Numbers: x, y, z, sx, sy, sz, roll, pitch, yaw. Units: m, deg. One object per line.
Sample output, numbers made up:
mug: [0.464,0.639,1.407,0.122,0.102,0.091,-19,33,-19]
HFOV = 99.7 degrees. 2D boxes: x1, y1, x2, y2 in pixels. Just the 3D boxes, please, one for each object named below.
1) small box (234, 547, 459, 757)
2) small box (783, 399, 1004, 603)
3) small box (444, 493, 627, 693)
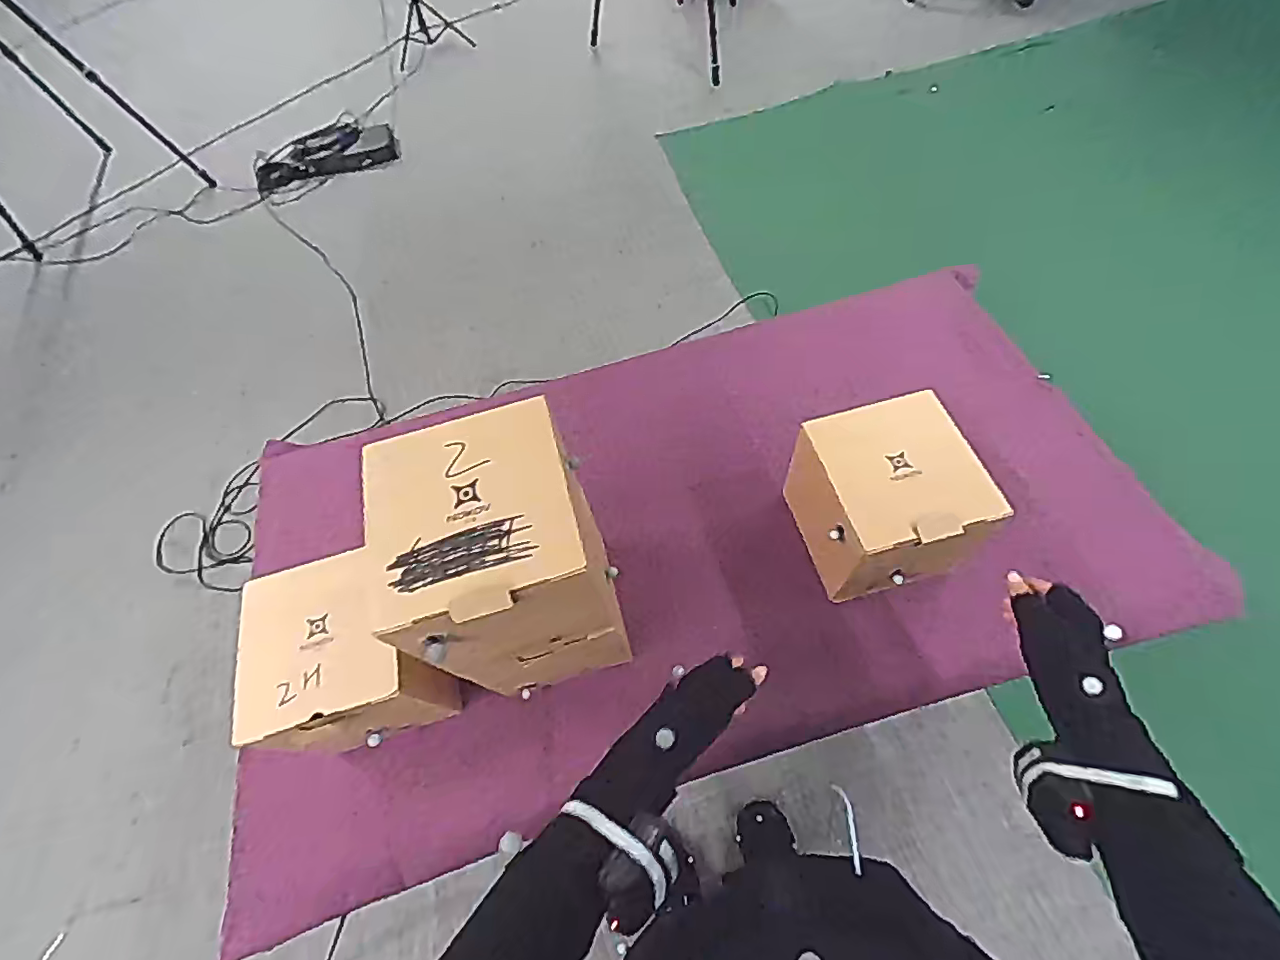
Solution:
small box: [-0.330,0.208,0.638,0.168,0.176,0.179,-17,60,-4]
small box: [0.293,0.031,0.677,0.168,0.176,0.179,-15,60,-3]
small box: [-0.119,0.146,0.654,0.168,0.176,0.179,-15,59,-3]
